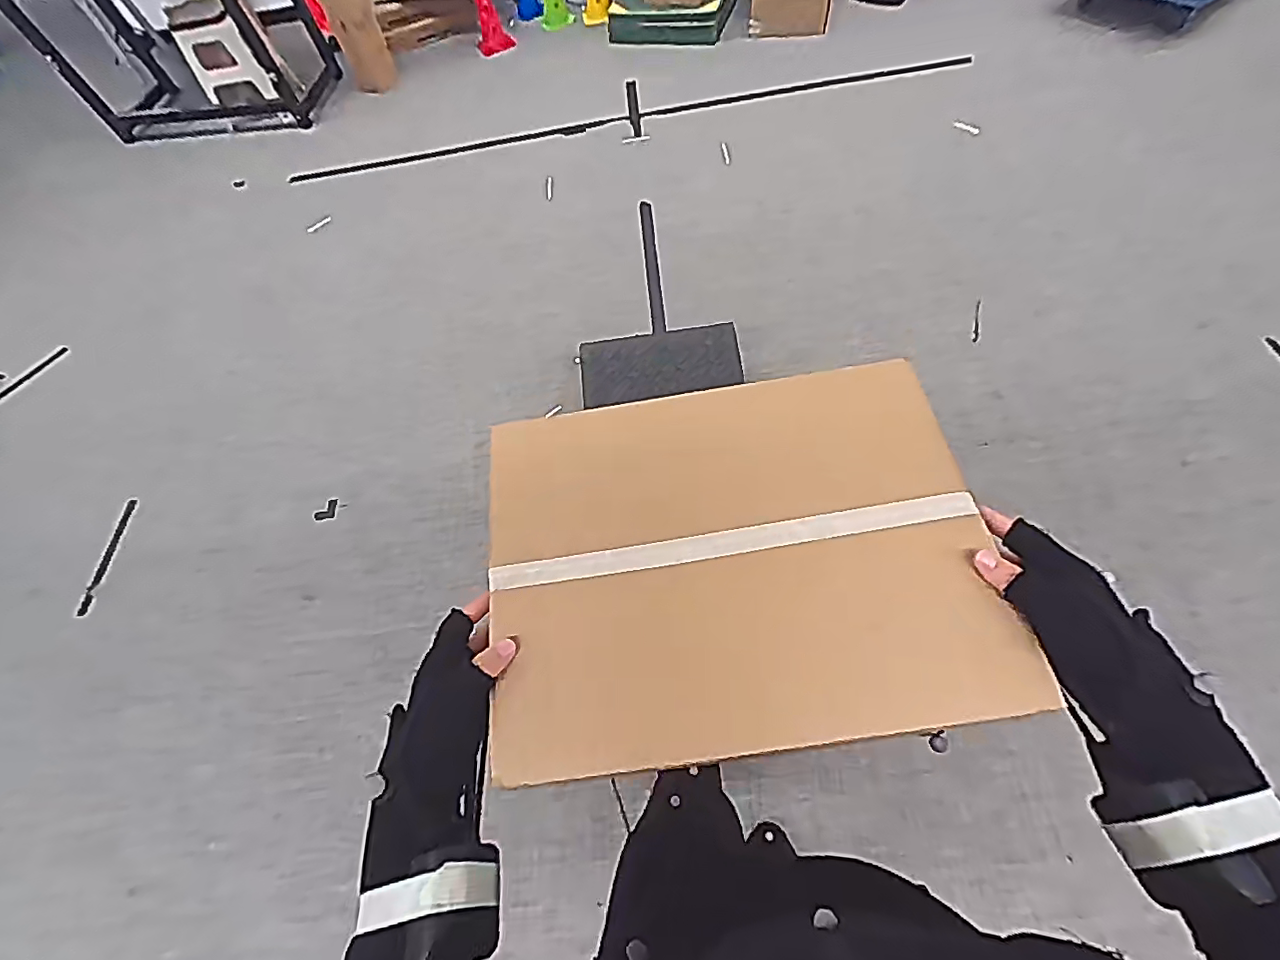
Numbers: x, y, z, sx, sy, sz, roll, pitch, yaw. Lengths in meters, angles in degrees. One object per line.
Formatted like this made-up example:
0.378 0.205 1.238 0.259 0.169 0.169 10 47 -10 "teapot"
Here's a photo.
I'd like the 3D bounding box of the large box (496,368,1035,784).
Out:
0.089 0.122 0.593 0.408 0.320 0.320 -9 62 1 "large box"
